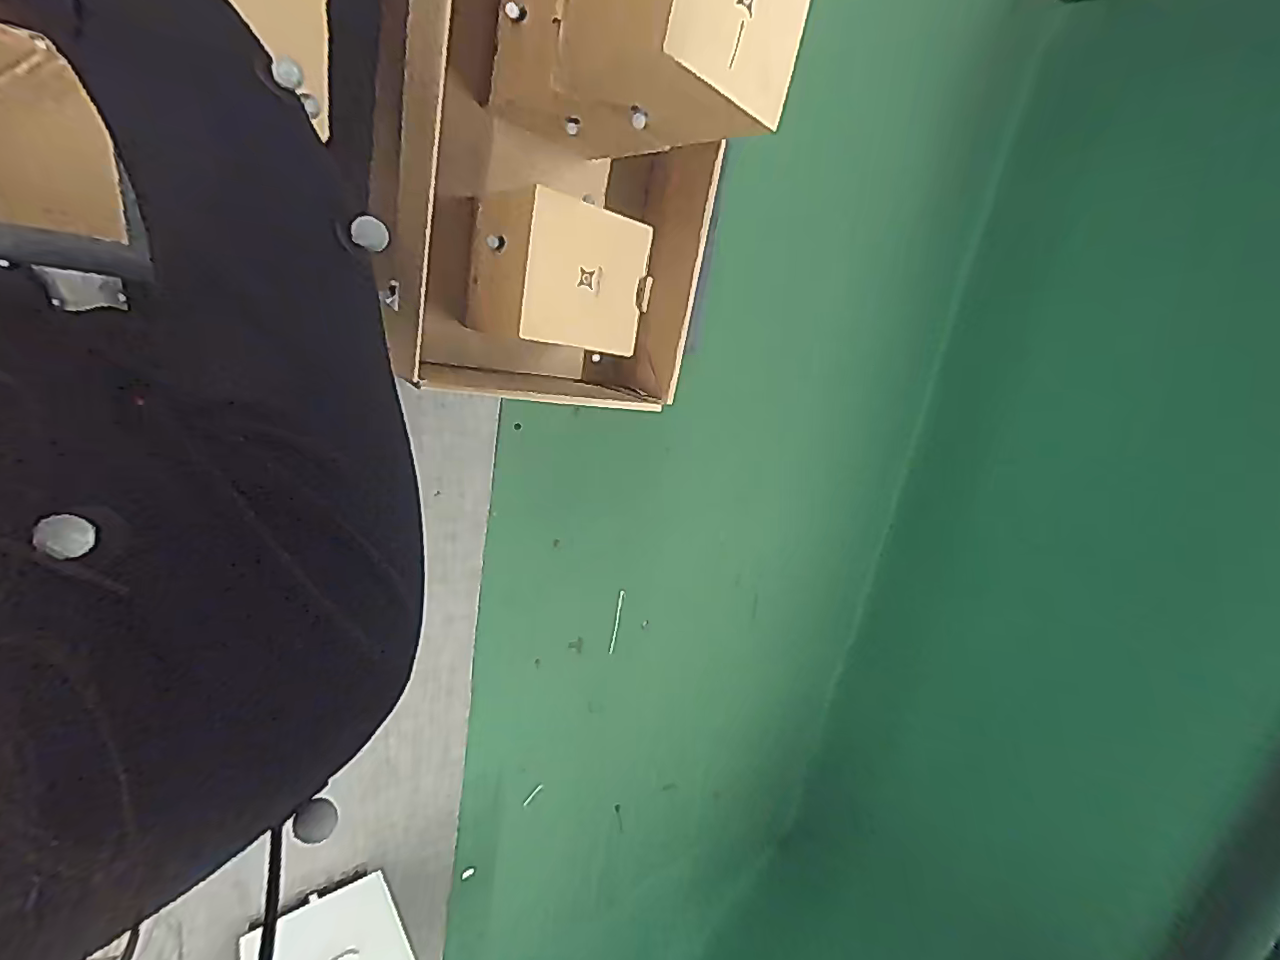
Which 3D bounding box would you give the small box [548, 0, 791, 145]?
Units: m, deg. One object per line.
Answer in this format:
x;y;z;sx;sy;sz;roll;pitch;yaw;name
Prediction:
0.028;-0.465;0.543;0.168;0.176;0.179;-1;112;-44;small box
